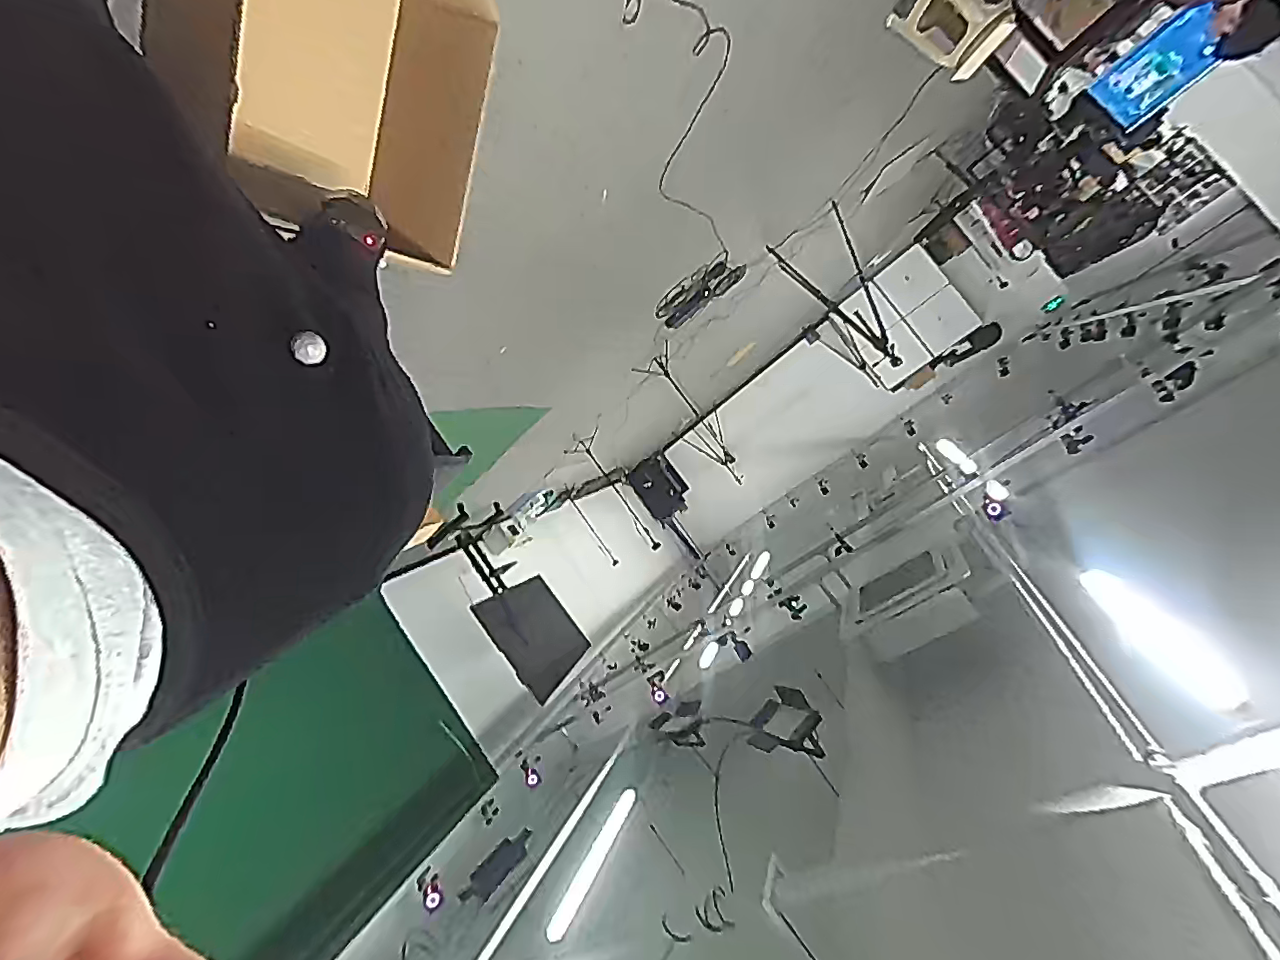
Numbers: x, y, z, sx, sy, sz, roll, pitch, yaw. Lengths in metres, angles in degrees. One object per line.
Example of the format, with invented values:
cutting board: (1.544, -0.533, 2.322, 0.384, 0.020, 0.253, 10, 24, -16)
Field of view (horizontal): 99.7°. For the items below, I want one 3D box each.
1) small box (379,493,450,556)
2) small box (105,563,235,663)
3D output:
small box: (-0.895, 0.166, 2.131, 0.179, 0.176, 0.168, -38, 173, 33)
small box: (-1.240, 0.342, 1.430, 0.168, 0.176, 0.179, -39, 174, 18)
